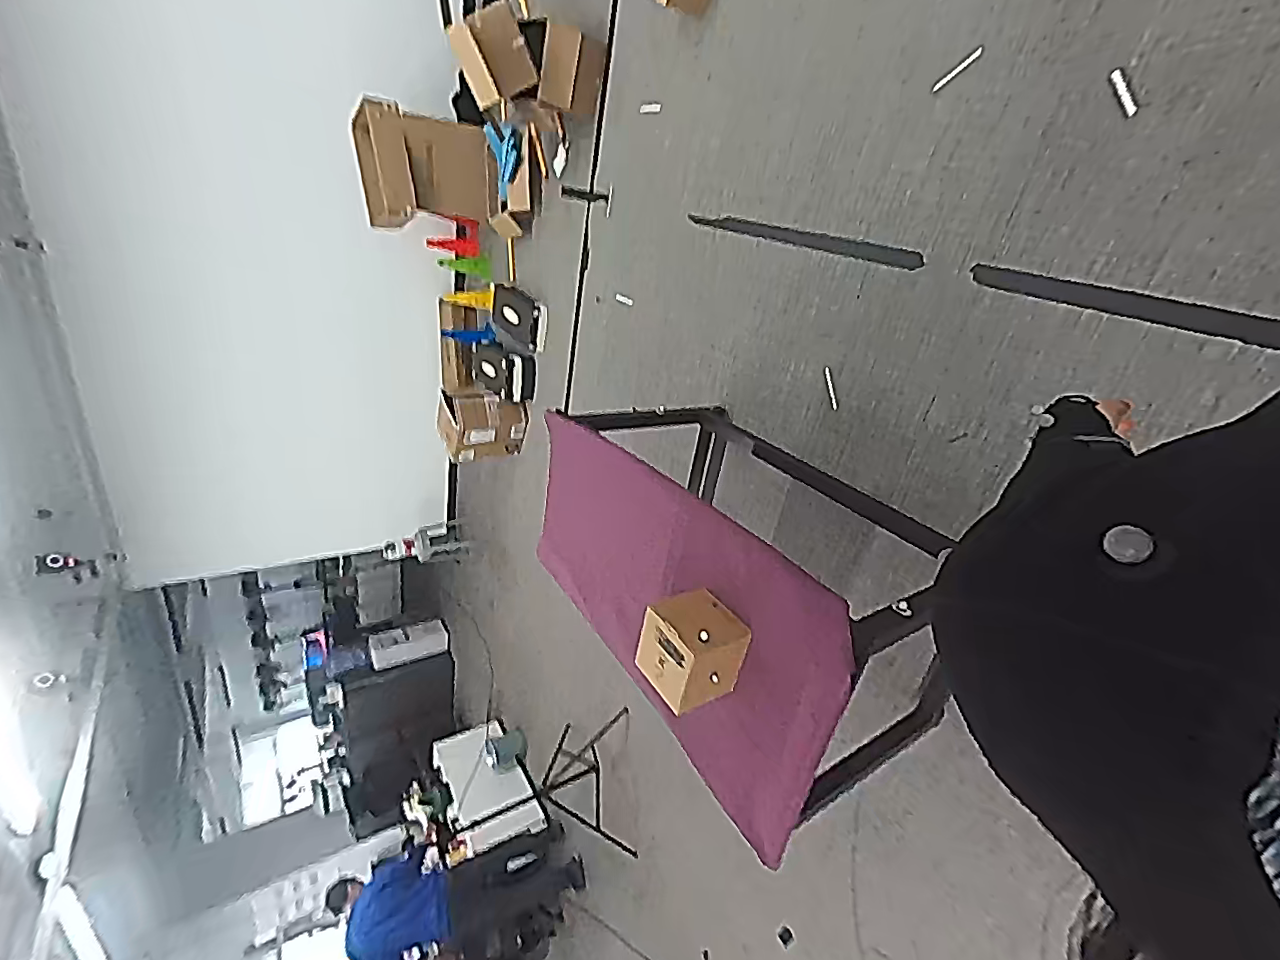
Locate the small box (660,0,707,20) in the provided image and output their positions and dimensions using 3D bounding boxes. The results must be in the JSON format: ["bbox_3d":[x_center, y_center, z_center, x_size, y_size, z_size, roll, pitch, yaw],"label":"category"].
[{"bbox_3d":[0.165,-1.851,1.991,0.168,0.176,0.179,62,140,28],"label":"small box"}]
